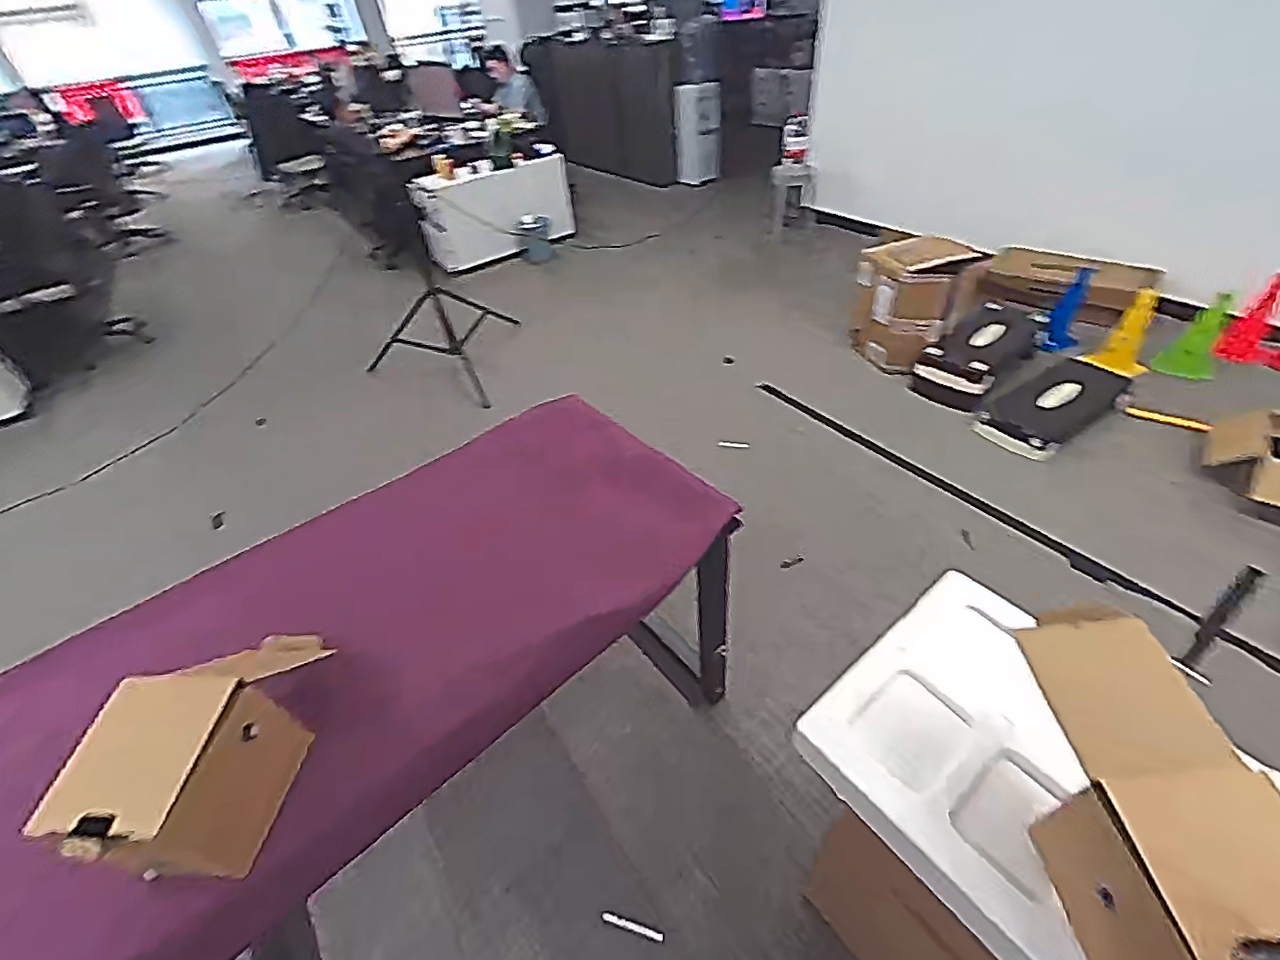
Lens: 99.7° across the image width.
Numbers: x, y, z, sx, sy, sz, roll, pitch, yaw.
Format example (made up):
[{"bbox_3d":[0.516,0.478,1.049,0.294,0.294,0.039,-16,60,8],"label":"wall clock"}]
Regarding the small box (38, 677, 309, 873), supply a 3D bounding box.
[{"bbox_3d":[-0.573,0.380,0.702,0.168,0.176,0.179,-3,42,7],"label":"small box"}]
